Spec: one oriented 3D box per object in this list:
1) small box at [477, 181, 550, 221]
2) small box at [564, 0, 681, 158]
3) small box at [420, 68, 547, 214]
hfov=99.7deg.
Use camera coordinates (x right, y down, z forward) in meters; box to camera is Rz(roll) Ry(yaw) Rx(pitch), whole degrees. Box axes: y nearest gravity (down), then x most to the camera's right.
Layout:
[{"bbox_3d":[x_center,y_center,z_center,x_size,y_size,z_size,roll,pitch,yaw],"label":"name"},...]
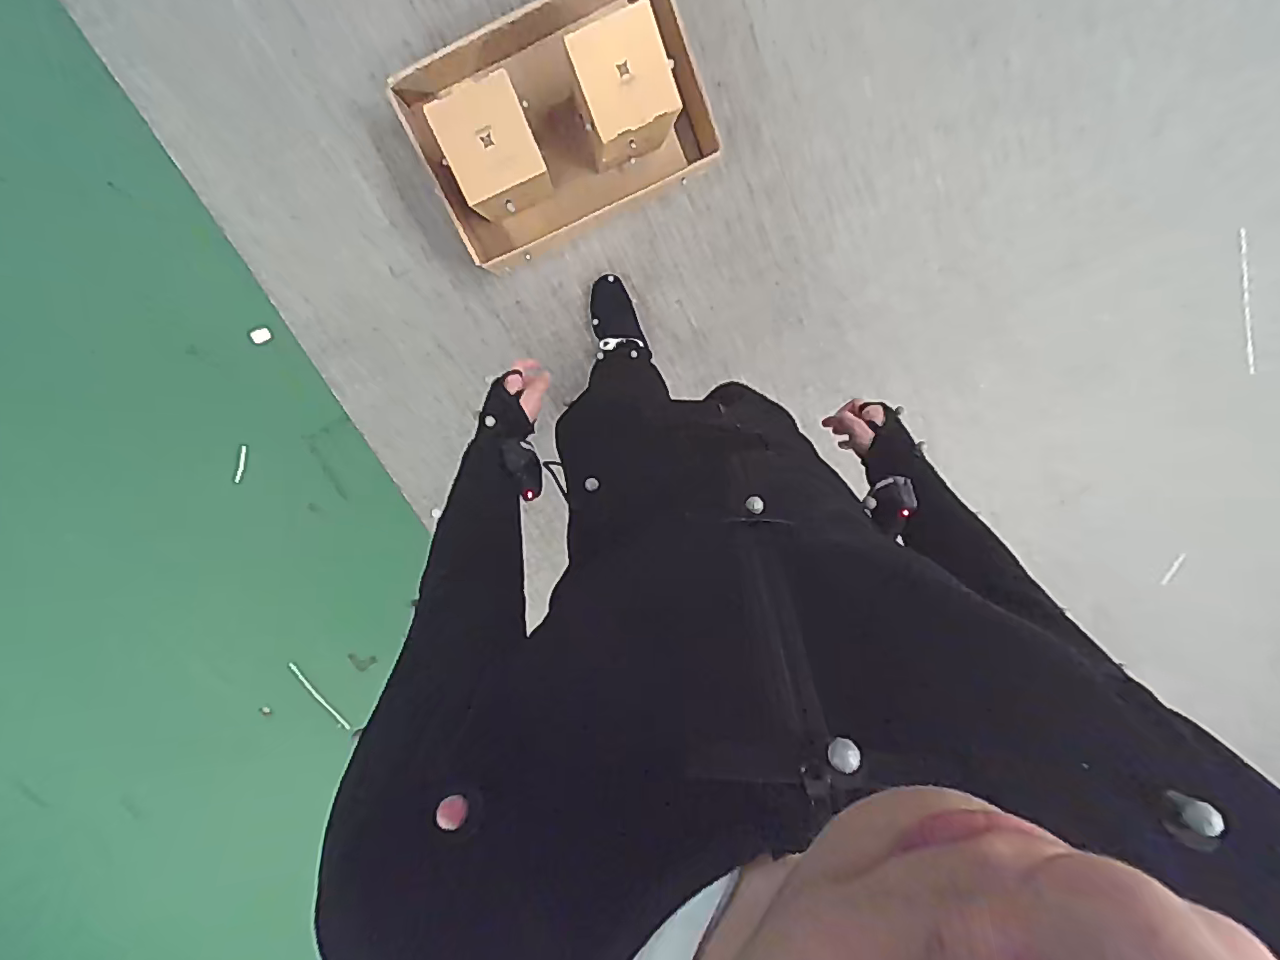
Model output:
[{"bbox_3d":[-0.312,-0.702,1.204,0.168,0.176,0.179,-23,110,2],"label":"small box"},{"bbox_3d":[-0.039,-0.757,1.042,0.168,0.176,0.179,-23,112,3],"label":"small box"},{"bbox_3d":[-0.293,-0.645,1.052,0.168,0.176,0.179,-23,111,2],"label":"small box"}]
